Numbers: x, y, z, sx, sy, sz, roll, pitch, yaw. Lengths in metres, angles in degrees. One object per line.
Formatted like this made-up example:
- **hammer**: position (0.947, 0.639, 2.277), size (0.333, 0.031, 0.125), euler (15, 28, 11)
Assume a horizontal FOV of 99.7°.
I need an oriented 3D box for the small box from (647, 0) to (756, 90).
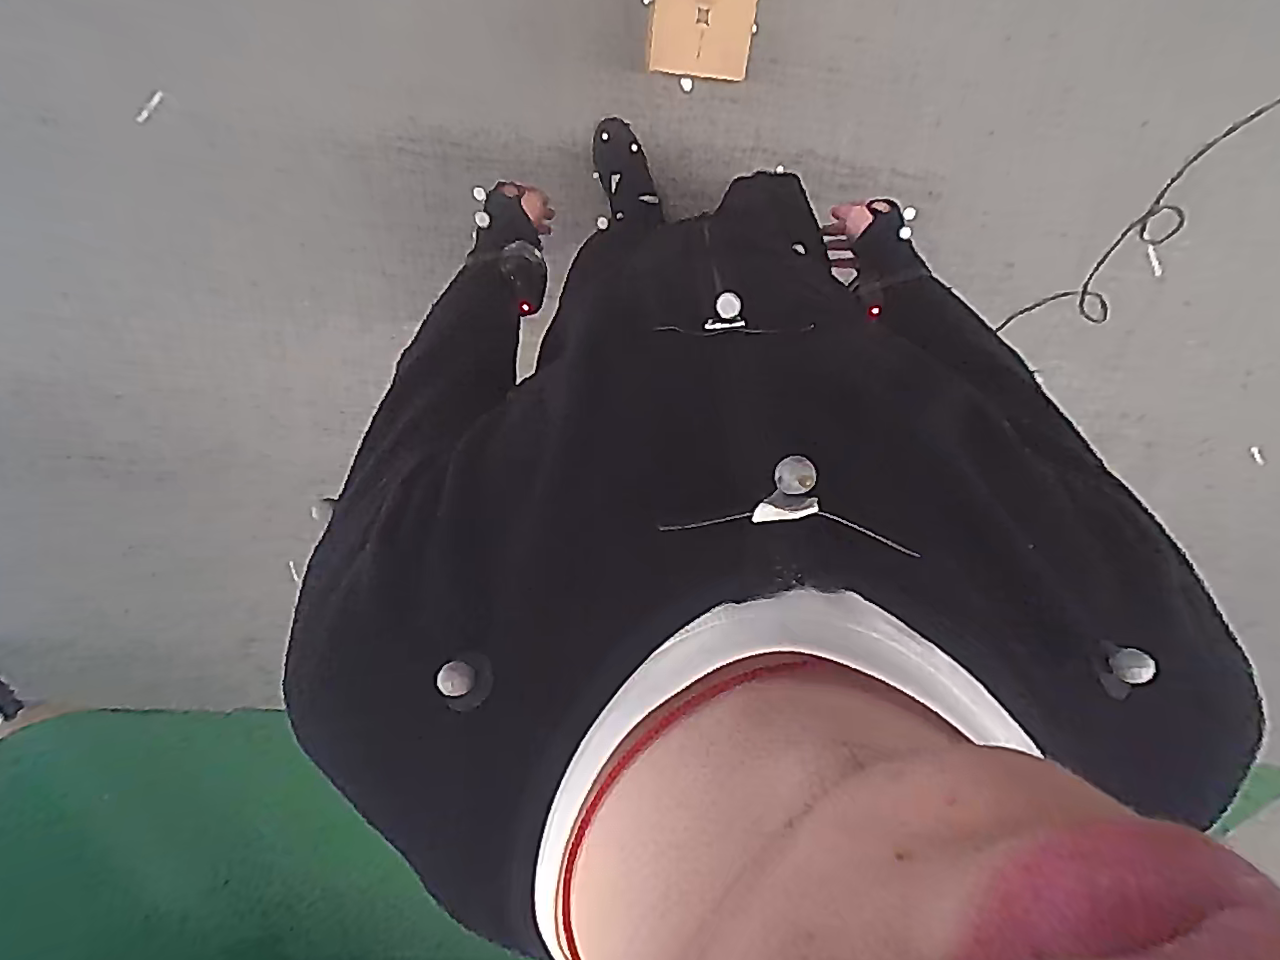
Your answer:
- **small box**: position (0.102, -0.797, 0.939), size (0.168, 0.176, 0.179), euler (5, 124, -3)
